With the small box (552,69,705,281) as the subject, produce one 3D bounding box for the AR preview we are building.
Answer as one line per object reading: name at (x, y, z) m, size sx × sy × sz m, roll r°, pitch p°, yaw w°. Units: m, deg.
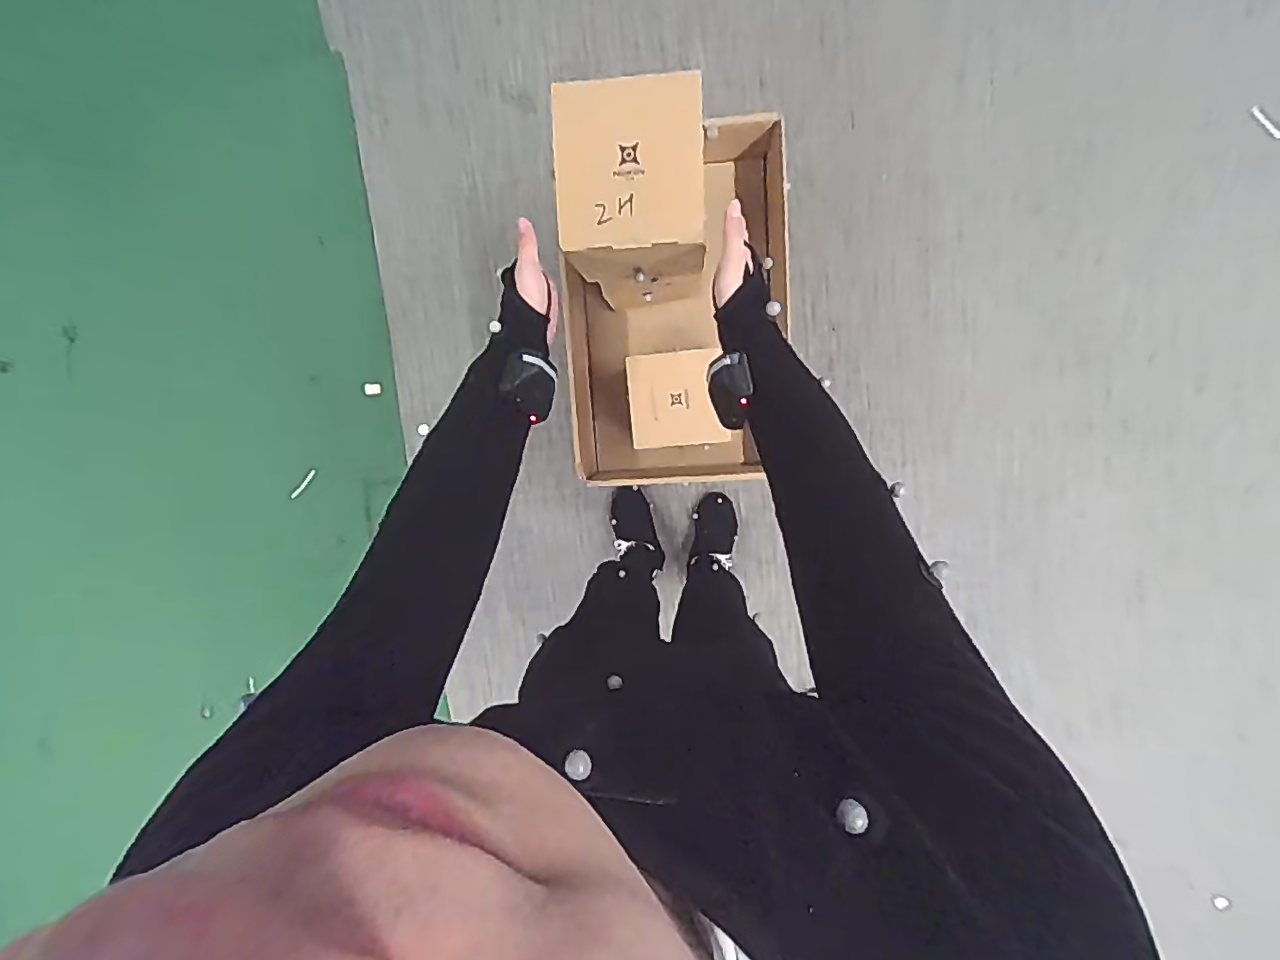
small box at (-0.005, -0.356, 0.663) m, size 0.168 × 0.176 × 0.179 m, roll -1°, pitch 99°, yaw 6°
